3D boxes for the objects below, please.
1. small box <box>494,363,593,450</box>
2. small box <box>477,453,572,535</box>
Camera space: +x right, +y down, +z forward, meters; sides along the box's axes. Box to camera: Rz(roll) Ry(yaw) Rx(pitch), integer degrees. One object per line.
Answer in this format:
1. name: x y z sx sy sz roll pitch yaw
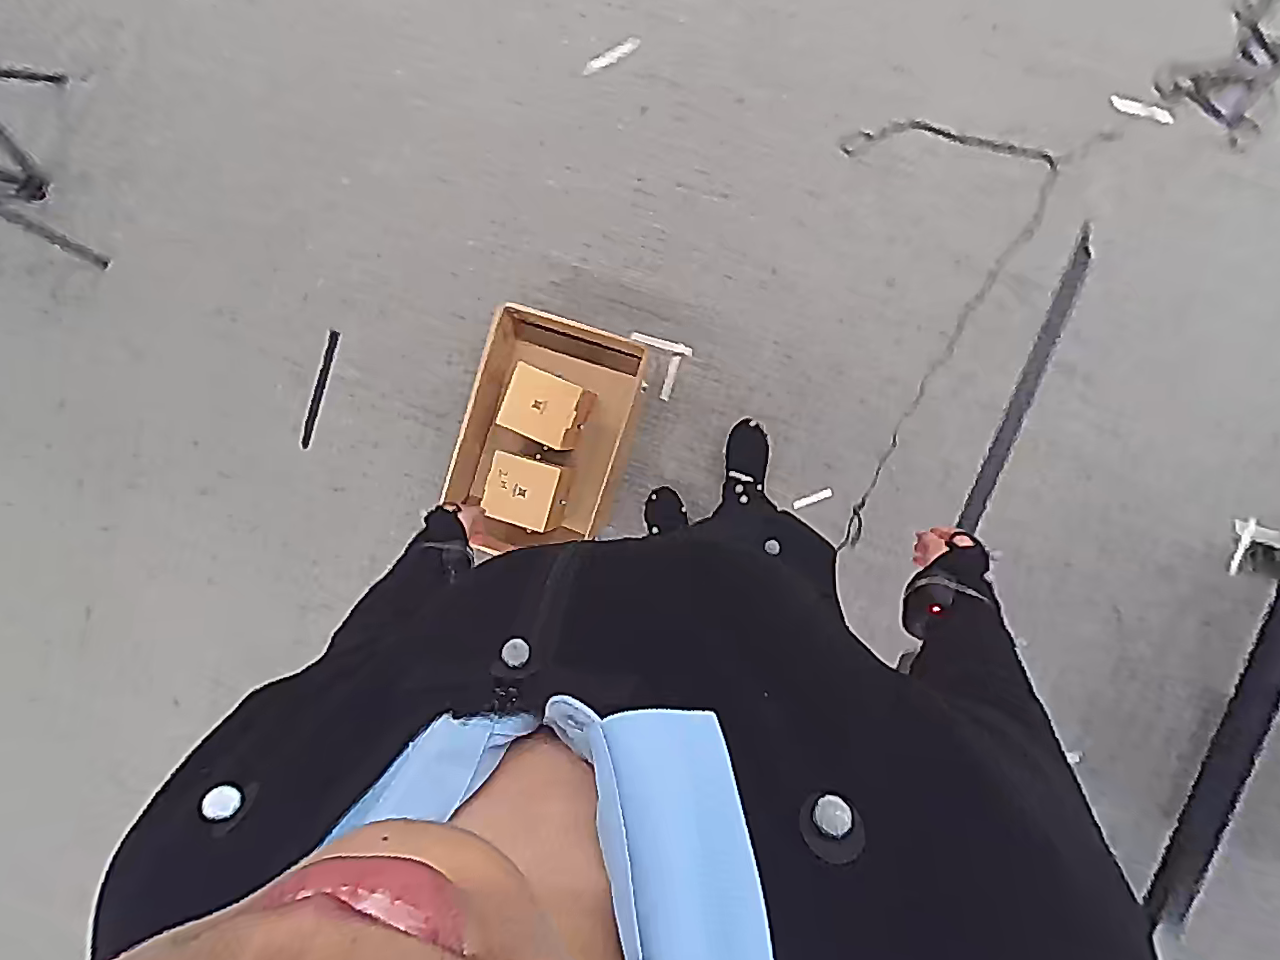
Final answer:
1. small box: -0.242 -0.181 1.394 0.179 0.176 0.168 24 95 5
2. small box: -0.291 0.032 1.405 0.179 0.176 0.168 17 92 6
